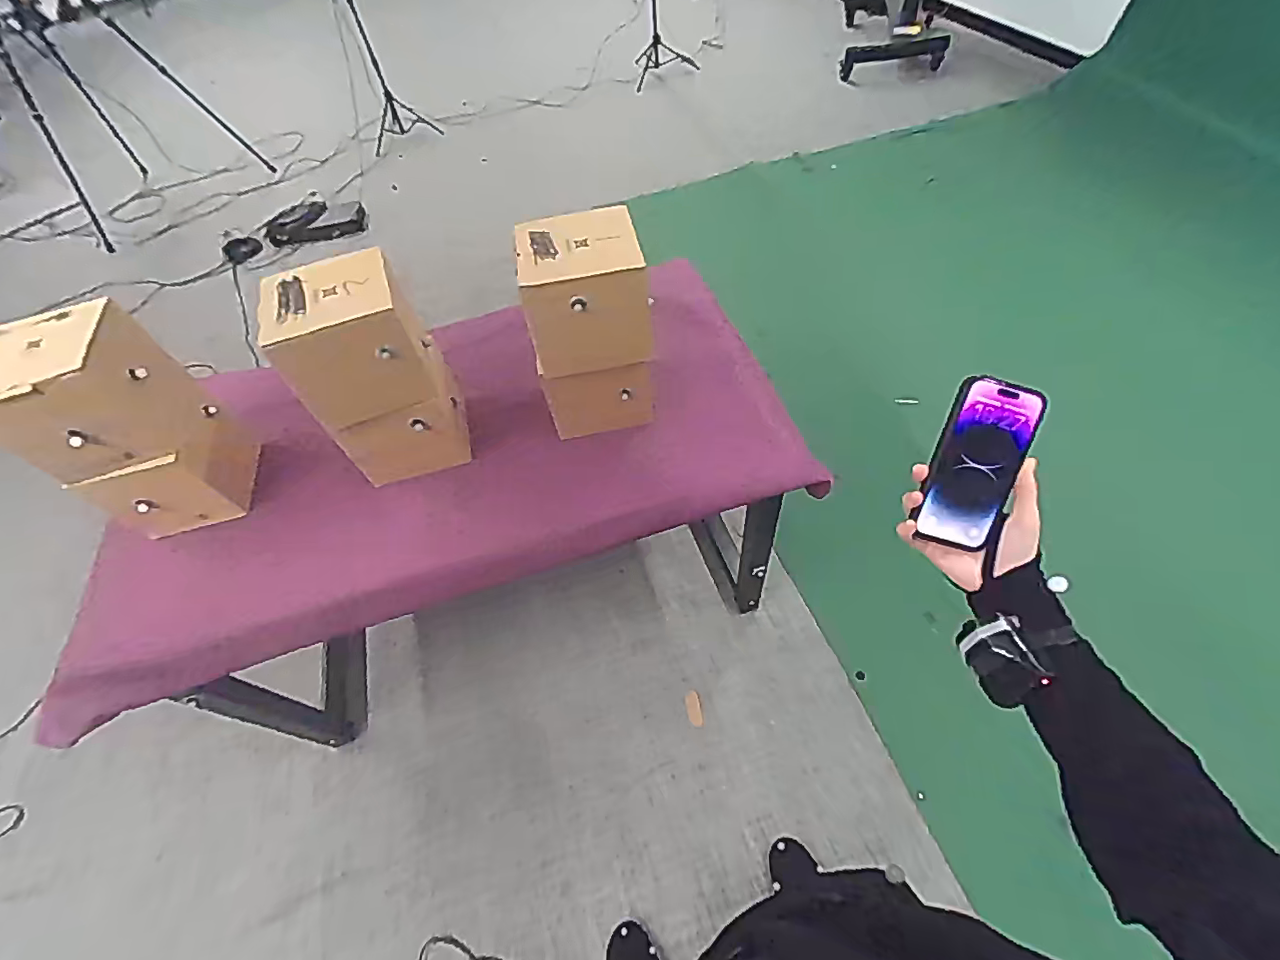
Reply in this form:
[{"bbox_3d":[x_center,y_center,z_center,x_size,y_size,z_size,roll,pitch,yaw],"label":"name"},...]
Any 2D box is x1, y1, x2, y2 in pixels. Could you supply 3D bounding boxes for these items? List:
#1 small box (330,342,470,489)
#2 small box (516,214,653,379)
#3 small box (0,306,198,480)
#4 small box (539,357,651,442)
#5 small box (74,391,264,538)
[{"bbox_3d":[-0.409,-0.109,0.951,0.179,0.176,0.168,-16,54,-5],"label":"small box"},{"bbox_3d":[-0.082,-0.275,0.833,0.179,0.176,0.168,-10,54,-2],"label":"small box"},{"bbox_3d":[-0.806,-0.120,0.803,0.168,0.176,0.179,-19,55,-8],"label":"small box"},{"bbox_3d":[-0.078,-0.190,0.973,0.179,0.176,0.168,-11,54,0],"label":"small box"},{"bbox_3d":[-0.788,-0.018,0.932,0.168,0.176,0.179,-15,54,-4],"label":"small box"}]
